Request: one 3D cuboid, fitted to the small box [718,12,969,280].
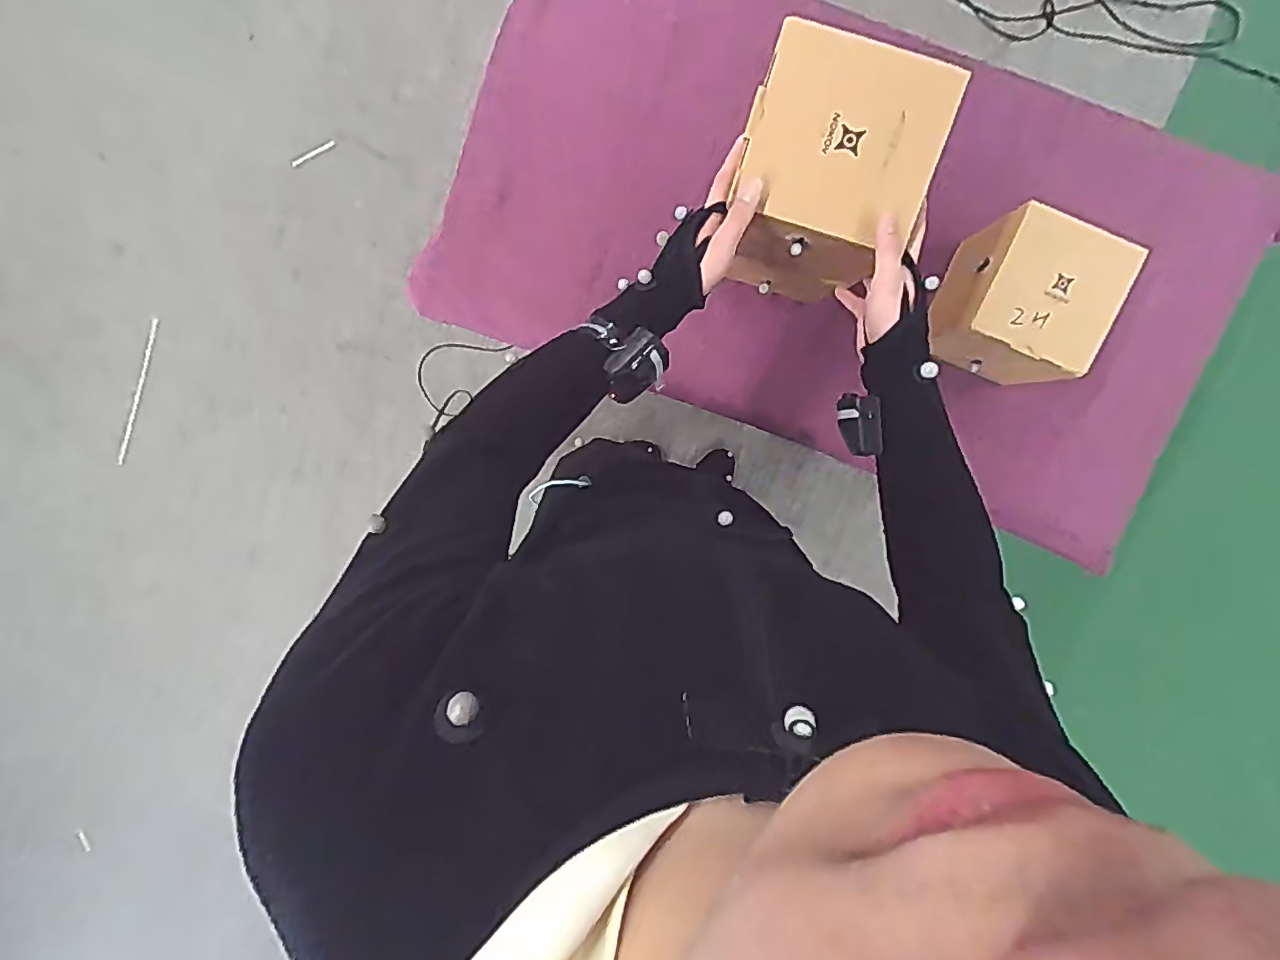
[{"bbox_3d":[0.190,-0.327,0.570,0.179,0.176,0.168,18,101,1],"label":"small box"}]

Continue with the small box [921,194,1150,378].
[{"bbox_3d":[0.540,-0.260,0.769,0.168,0.176,0.179,23,97,1],"label":"small box"}]

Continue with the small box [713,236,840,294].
[{"bbox_3d":[0.215,-0.379,0.770,0.179,0.176,0.168,17,97,0],"label":"small box"}]
